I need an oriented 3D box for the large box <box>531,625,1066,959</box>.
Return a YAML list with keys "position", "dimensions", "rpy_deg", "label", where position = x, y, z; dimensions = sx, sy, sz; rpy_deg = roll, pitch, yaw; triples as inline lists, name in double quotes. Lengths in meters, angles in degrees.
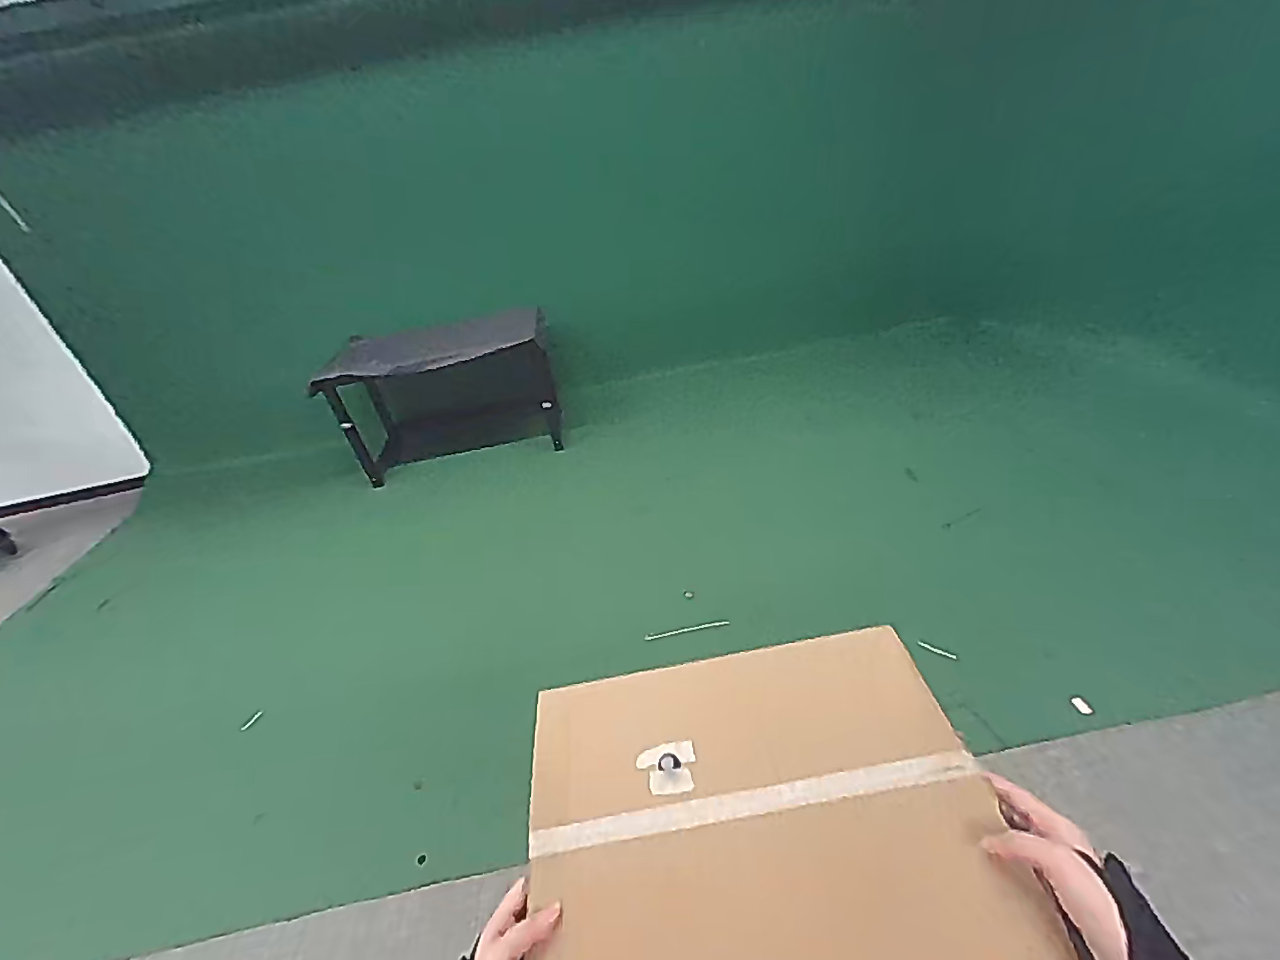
- position: [0.127, 0.412, 0.591]
  dimensions: [0.408, 0.320, 0.320]
  rpy_deg: [-13, 37, 3]
  label: "large box"
